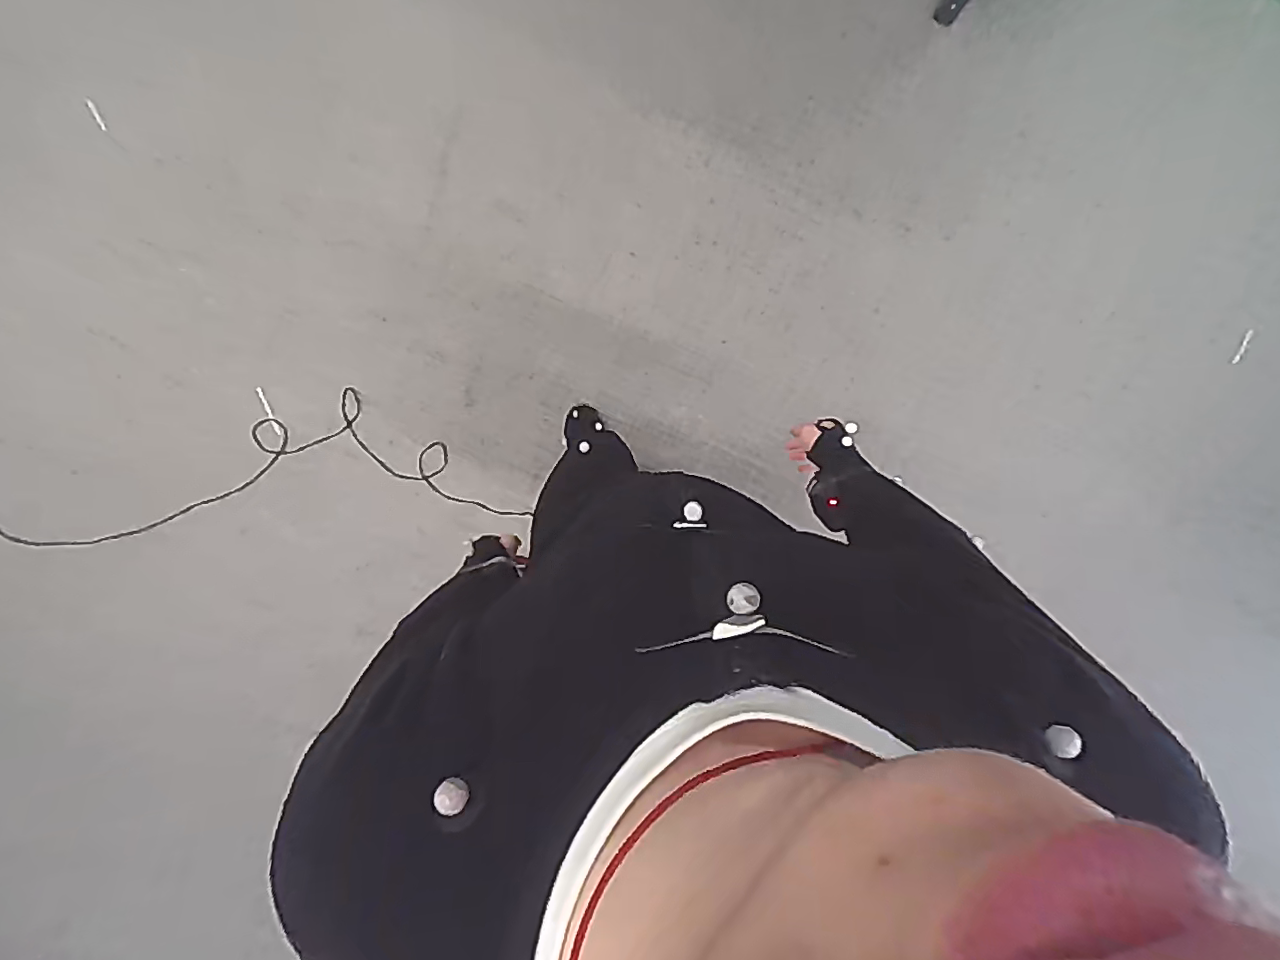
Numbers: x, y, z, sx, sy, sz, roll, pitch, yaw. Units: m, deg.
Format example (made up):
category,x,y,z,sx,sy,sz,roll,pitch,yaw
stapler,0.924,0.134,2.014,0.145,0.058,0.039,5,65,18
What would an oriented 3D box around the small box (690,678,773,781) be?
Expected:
category,x,y,z,sx,sy,sz,roll,pitch,yaw
small box,0.252,0.707,1.549,0.168,0.176,0.179,26,94,-4
